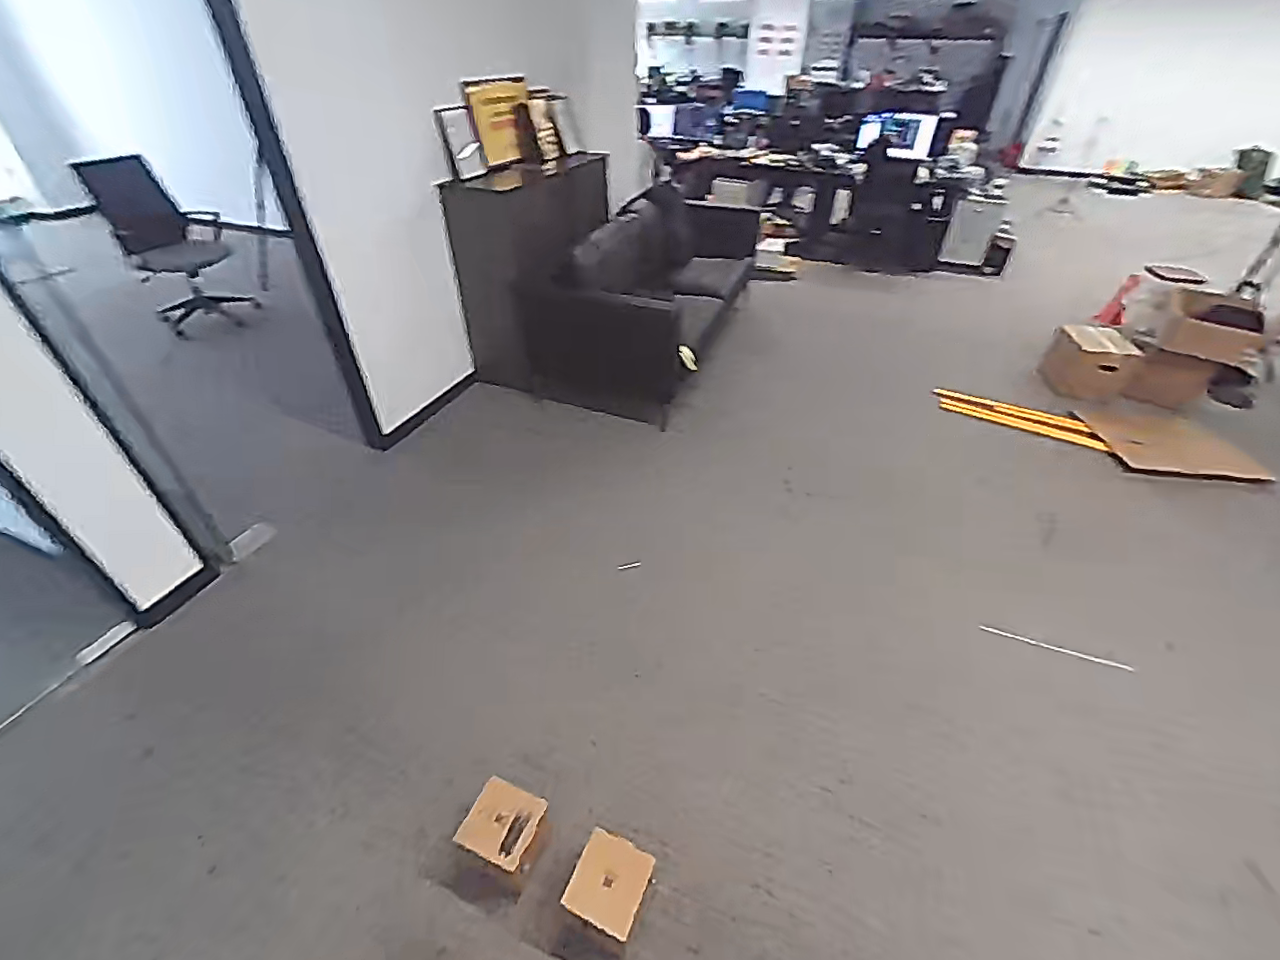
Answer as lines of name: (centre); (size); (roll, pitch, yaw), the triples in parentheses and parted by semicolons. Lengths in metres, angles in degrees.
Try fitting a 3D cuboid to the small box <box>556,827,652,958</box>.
small box: (-0.078, 0.979, 1.281); (0.168, 0.176, 0.179); (16, 40, 19)
